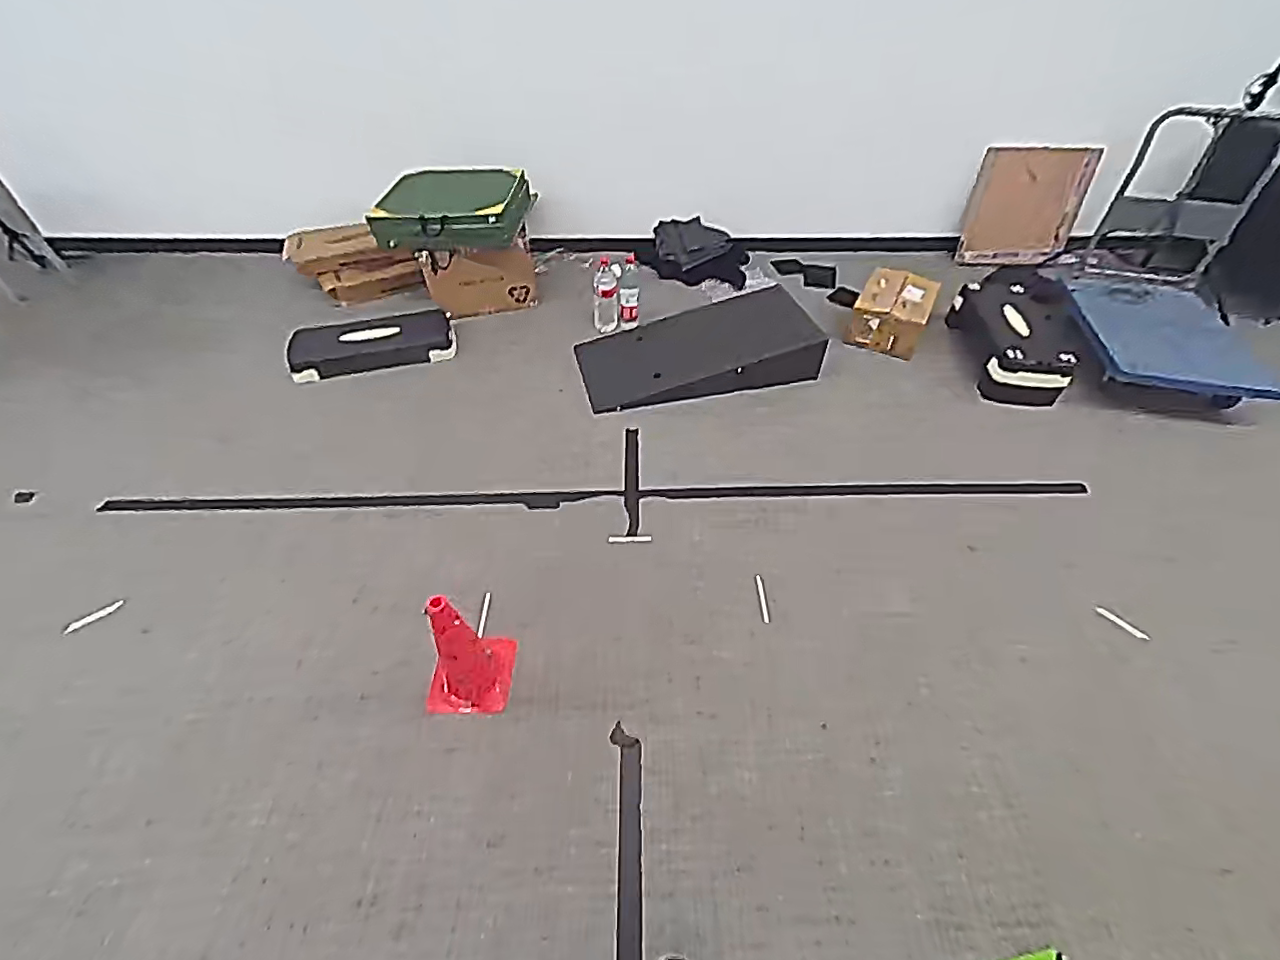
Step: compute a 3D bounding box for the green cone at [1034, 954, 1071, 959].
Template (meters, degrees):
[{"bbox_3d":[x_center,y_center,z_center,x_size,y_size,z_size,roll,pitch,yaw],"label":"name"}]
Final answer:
[{"bbox_3d":[0.737,0.866,0.823,0.200,0.368,0.202,-8,48,-8],"label":"green cone"}]
